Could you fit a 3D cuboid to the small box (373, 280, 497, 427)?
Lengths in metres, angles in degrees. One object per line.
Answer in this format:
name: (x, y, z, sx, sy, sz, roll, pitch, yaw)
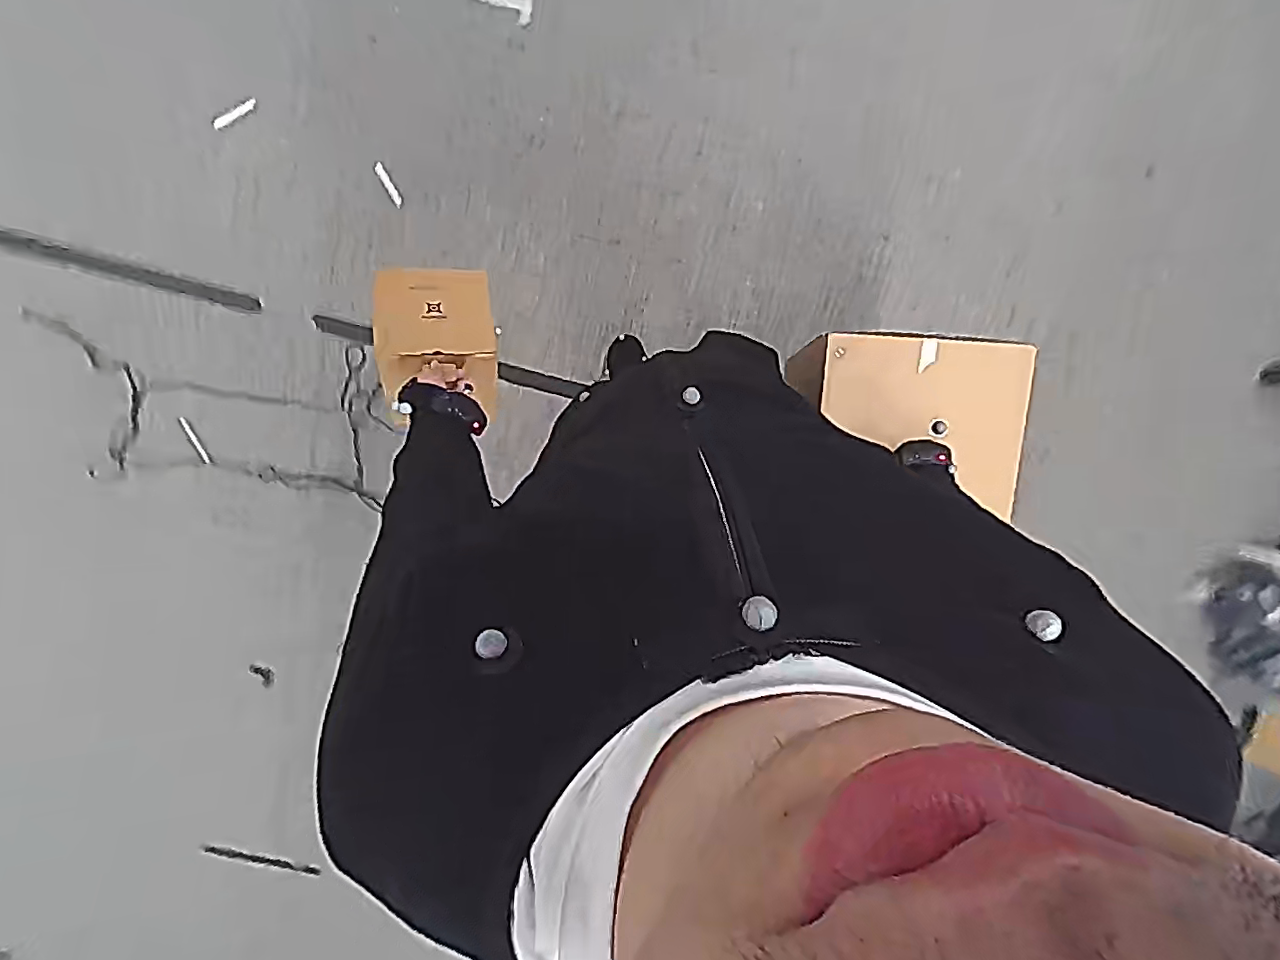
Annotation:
small box: (-0.327, -0.198, 0.877, 0.168, 0.176, 0.179, -7, 61, -18)
